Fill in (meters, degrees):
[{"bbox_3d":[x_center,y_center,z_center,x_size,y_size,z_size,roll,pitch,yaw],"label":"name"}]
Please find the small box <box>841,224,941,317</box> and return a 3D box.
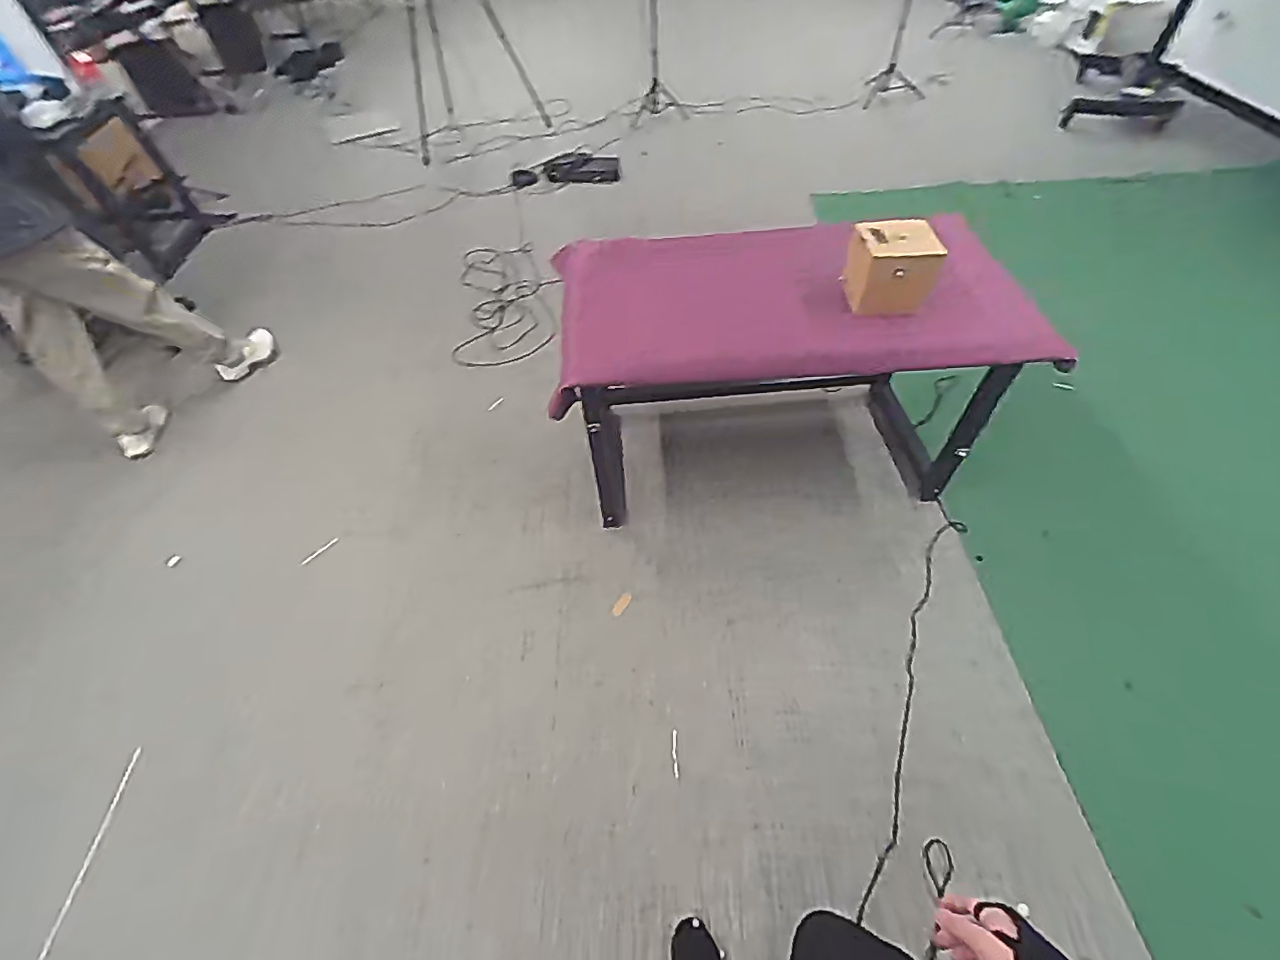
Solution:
[{"bbox_3d":[0.635,-0.537,1.399,0.179,0.176,0.168,-2,52,2],"label":"small box"}]
